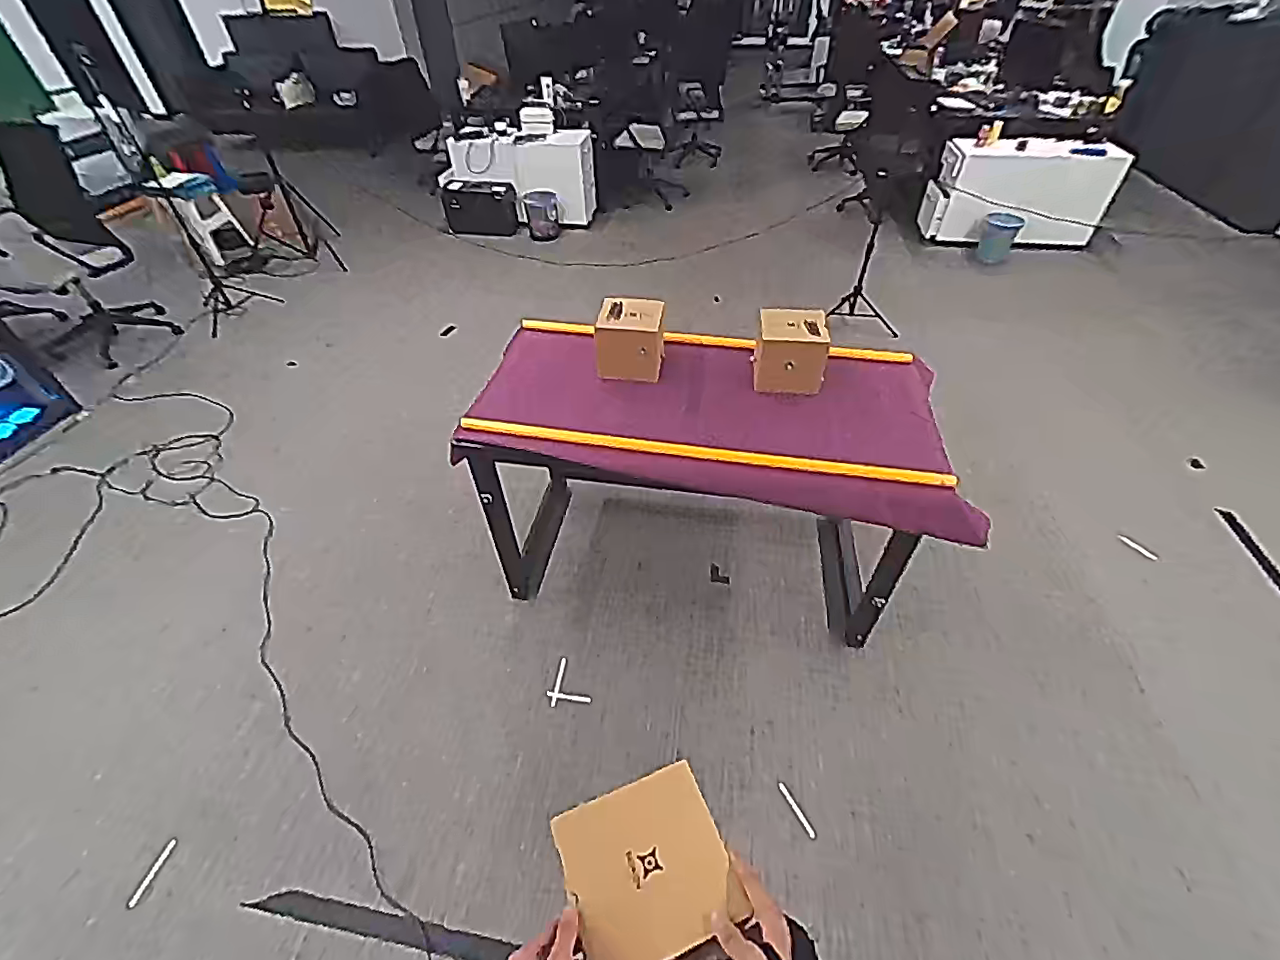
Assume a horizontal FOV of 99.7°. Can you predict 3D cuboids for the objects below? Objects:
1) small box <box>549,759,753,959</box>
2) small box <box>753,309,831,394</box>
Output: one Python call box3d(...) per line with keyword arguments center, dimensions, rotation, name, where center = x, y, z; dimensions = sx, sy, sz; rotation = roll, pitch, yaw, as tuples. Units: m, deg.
box3d(center=(0.009, 0.469, 0.632), dimensions=(0.179, 0.176, 0.168), rotation=(-18, 44, -14), name="small box")
box3d(center=(0.412, -0.350, 1.489), dimensions=(0.179, 0.176, 0.168), rotation=(3, 46, 7), name="small box")
